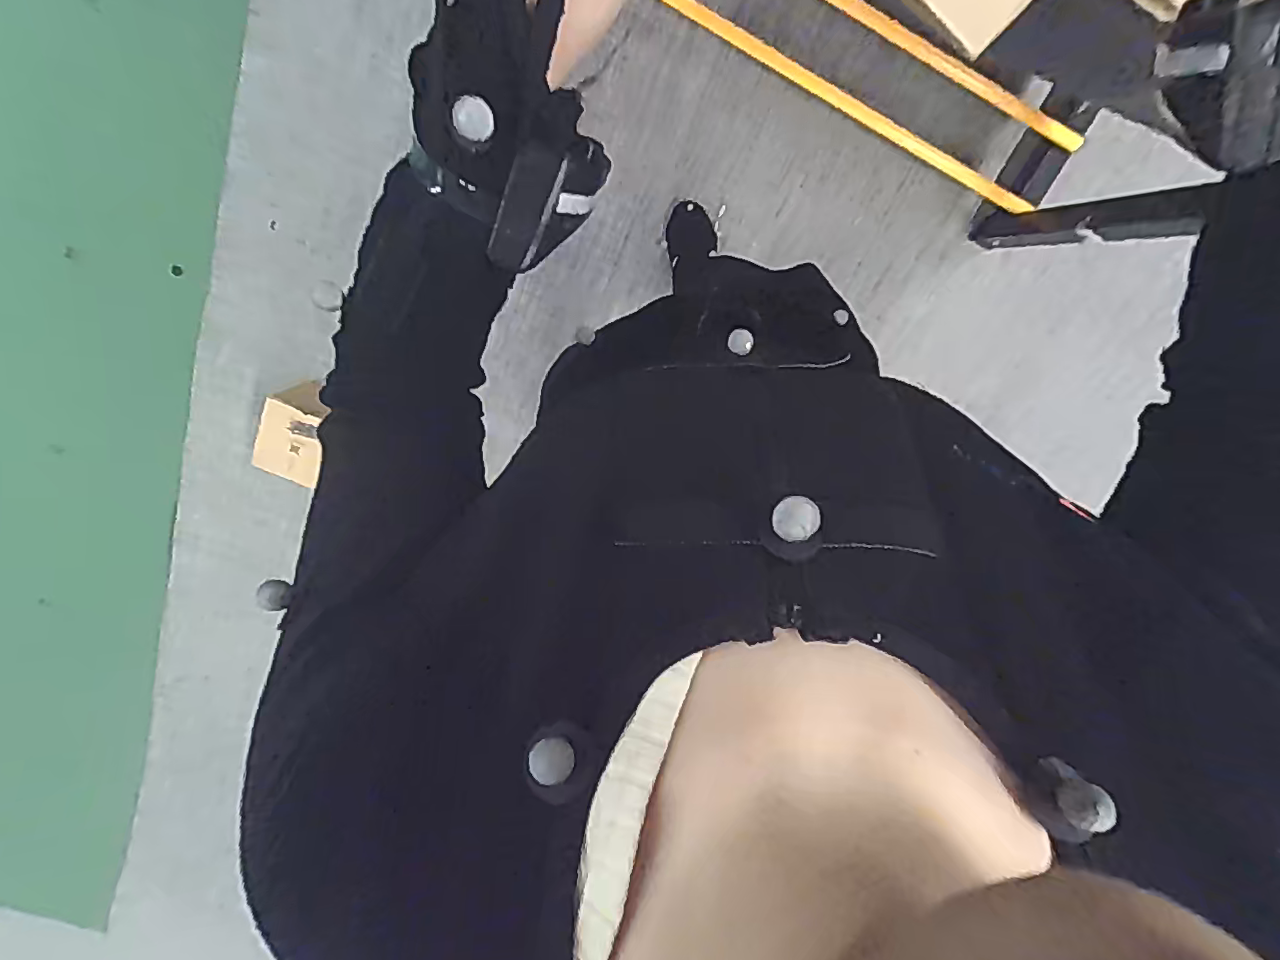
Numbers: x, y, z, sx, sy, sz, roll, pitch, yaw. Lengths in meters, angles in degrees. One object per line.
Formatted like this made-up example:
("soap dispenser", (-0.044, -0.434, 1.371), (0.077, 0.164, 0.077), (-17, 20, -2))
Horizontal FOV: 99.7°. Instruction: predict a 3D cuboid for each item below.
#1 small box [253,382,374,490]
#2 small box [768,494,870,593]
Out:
("small box", (-0.749, -0.110, 1.260), (0.168, 0.176, 0.179), (24, 110, -10))
("small box", (0.447, 0.157, 1.388), (0.168, 0.176, 0.179), (17, 109, -8))
